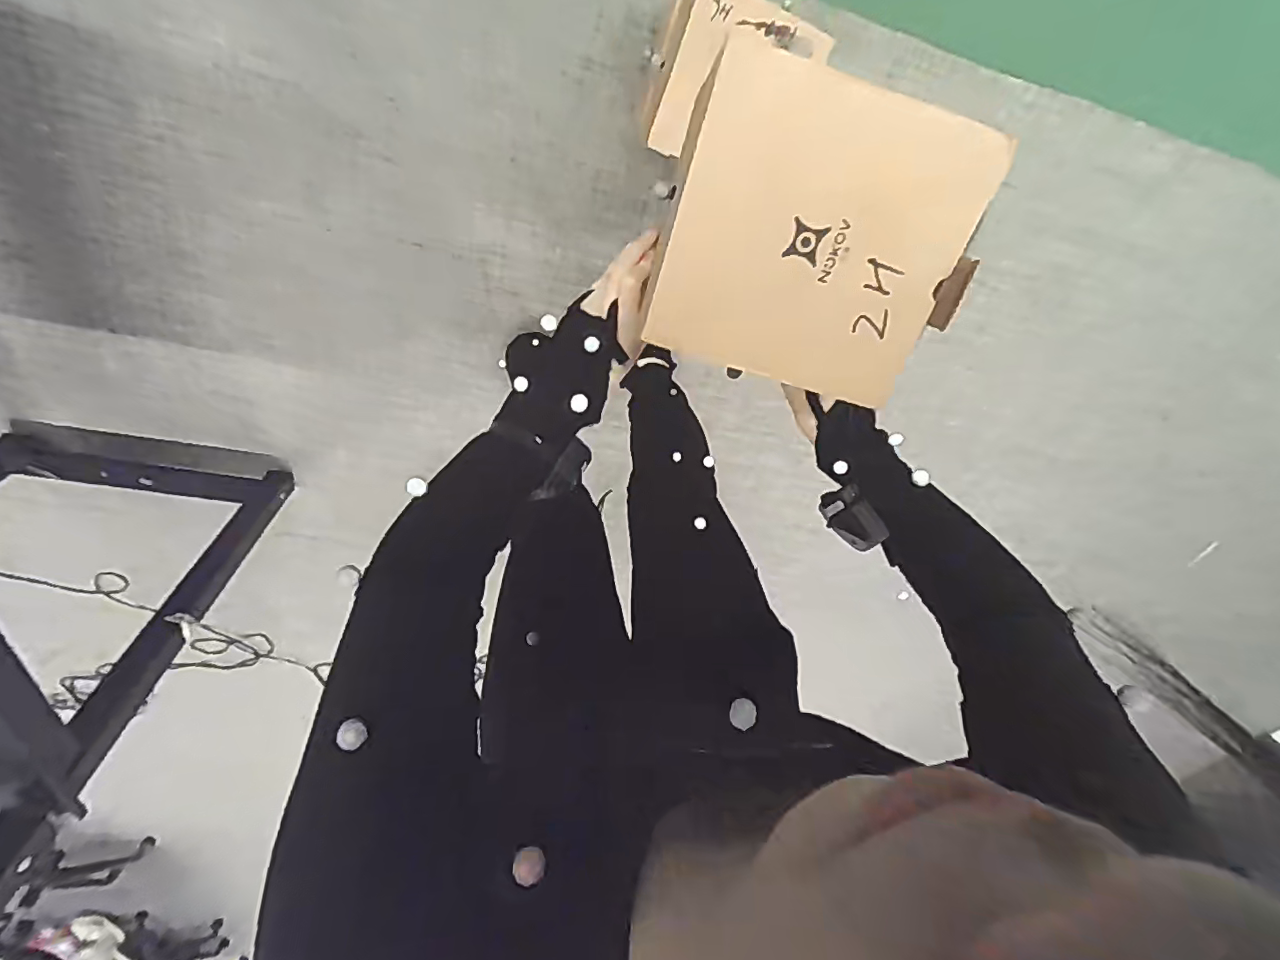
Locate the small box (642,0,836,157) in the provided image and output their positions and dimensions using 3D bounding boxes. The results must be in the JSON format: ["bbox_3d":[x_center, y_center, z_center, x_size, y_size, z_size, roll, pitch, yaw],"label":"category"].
[{"bbox_3d":[0.108,-0.499,0.681,0.168,0.176,0.179,16,125,-15],"label":"small box"}]

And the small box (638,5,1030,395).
[{"bbox_3d":[0.105,-0.183,0.384,0.179,0.176,0.168,15,117,-7],"label":"small box"}]
